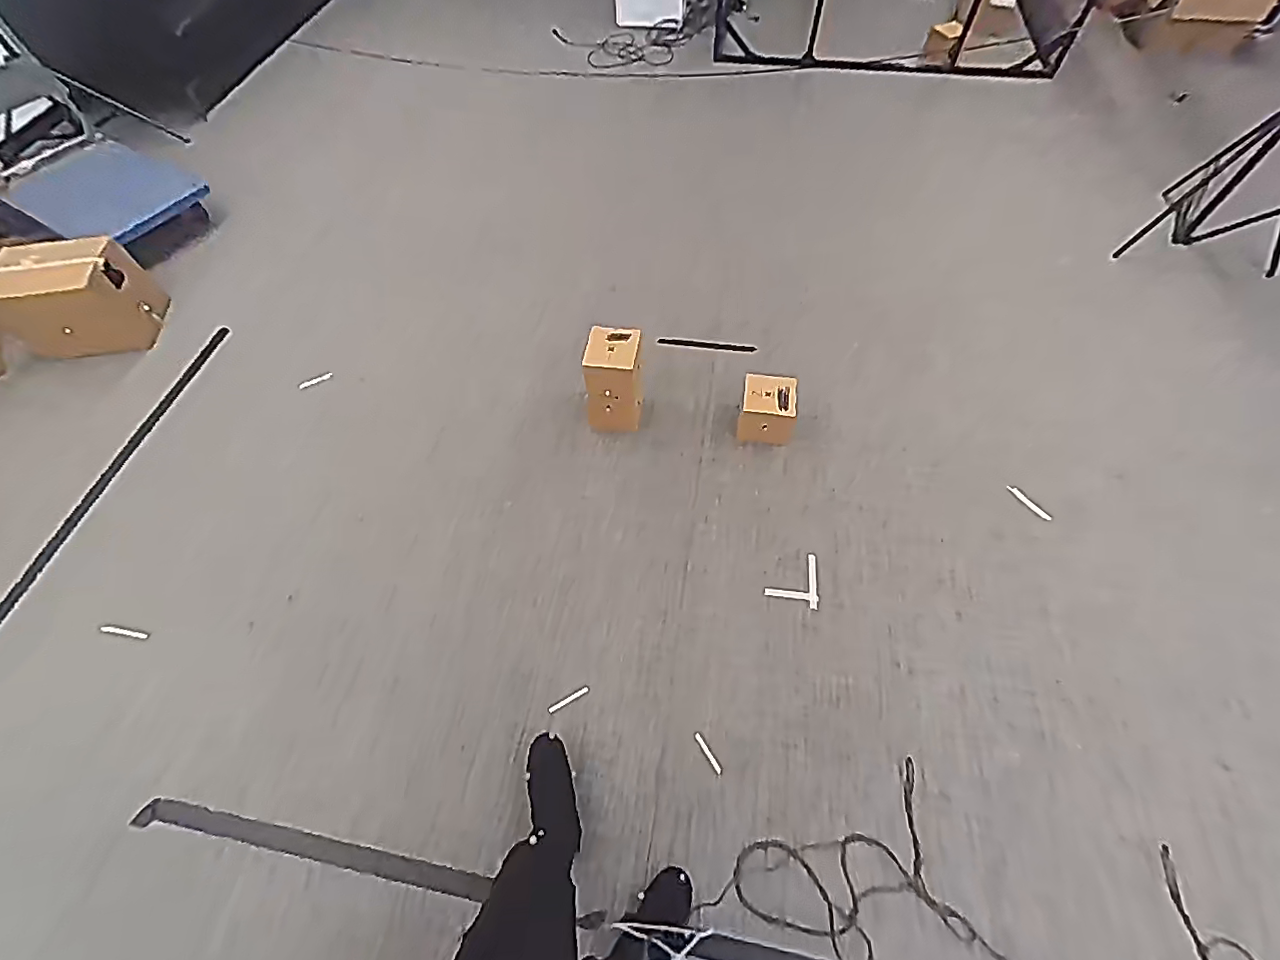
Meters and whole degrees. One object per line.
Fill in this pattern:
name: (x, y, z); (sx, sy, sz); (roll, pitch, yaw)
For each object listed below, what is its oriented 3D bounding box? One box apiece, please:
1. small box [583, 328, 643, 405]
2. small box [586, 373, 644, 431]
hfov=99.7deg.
small box: (-0.083, -0.376, 1.793); (0.168, 0.176, 0.179); (7, 61, 7)
small box: (-0.084, -0.291, 1.933); (0.179, 0.176, 0.168); (7, 60, 6)
